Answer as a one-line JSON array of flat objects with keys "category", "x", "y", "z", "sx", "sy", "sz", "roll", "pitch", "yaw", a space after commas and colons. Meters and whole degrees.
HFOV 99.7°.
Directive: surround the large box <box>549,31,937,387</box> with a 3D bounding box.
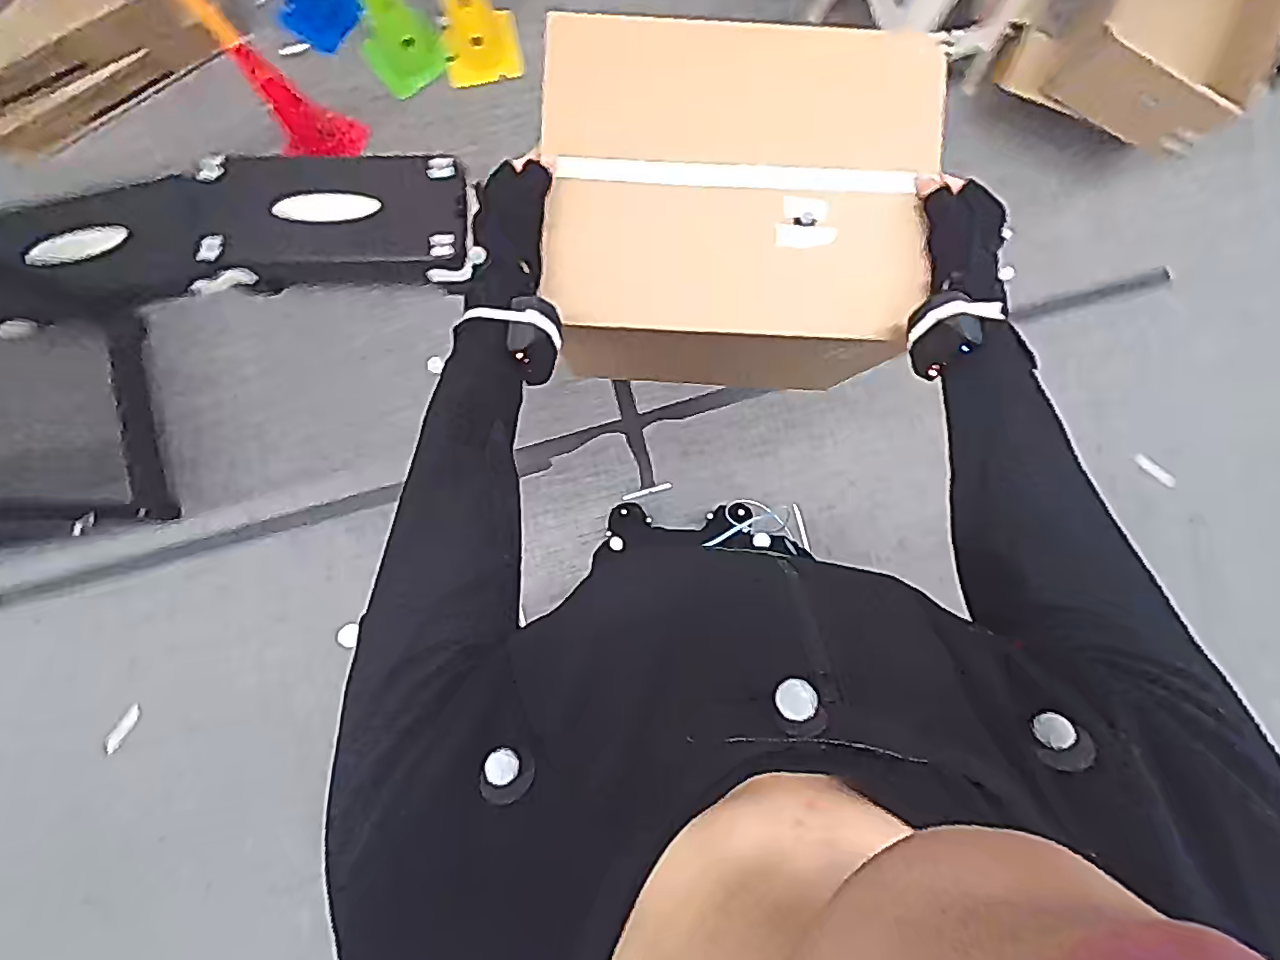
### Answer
[{"category": "large box", "x": 0.104, "y": -0.306, "z": 0.711, "sx": 0.408, "sy": 0.320, "sz": 0.320, "roll": 3, "pitch": 91, "yaw": -1}]
